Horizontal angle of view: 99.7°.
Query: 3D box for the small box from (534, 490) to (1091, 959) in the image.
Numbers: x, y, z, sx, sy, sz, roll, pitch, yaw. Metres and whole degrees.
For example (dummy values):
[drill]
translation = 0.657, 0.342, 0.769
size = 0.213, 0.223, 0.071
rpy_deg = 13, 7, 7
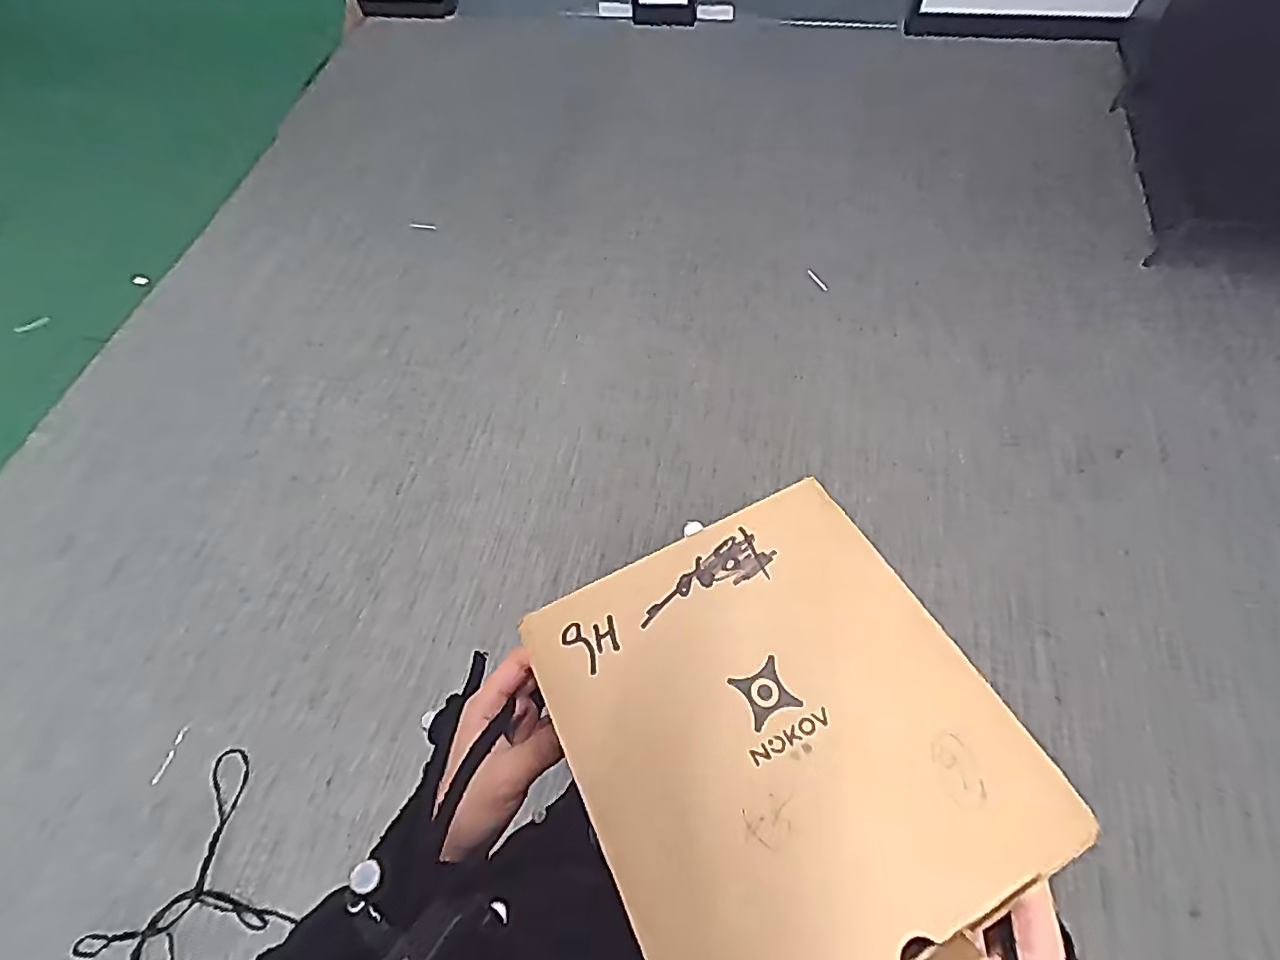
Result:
[small box]
translation = 0.062, 0.141, 0.291
size = 0.168, 0.176, 0.179
rpy_deg = -22, 60, -11
